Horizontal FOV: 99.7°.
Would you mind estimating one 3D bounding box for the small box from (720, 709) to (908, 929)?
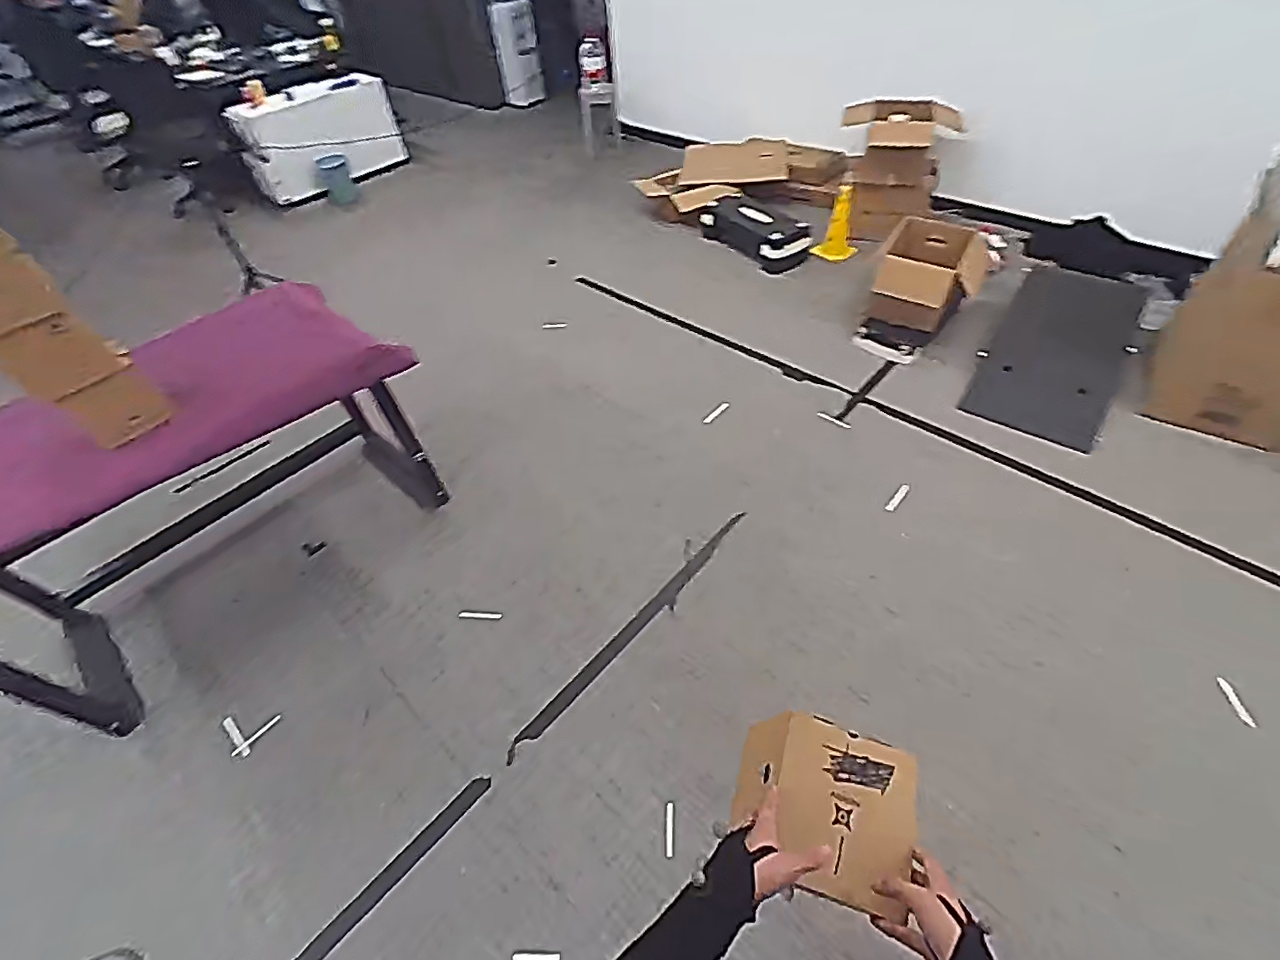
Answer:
[{"bbox_3d":[0.213,0.419,0.687,0.168,0.176,0.179,20,58,3],"label":"small box"}]

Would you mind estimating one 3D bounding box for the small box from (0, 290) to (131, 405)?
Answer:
[{"bbox_3d":[-1.337,-0.299,1.233,0.168,0.176,0.179,30,58,28],"label":"small box"}]

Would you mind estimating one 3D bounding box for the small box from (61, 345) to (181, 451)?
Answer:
[{"bbox_3d":[-1.319,-0.208,1.369,0.168,0.176,0.179,30,57,29],"label":"small box"}]
